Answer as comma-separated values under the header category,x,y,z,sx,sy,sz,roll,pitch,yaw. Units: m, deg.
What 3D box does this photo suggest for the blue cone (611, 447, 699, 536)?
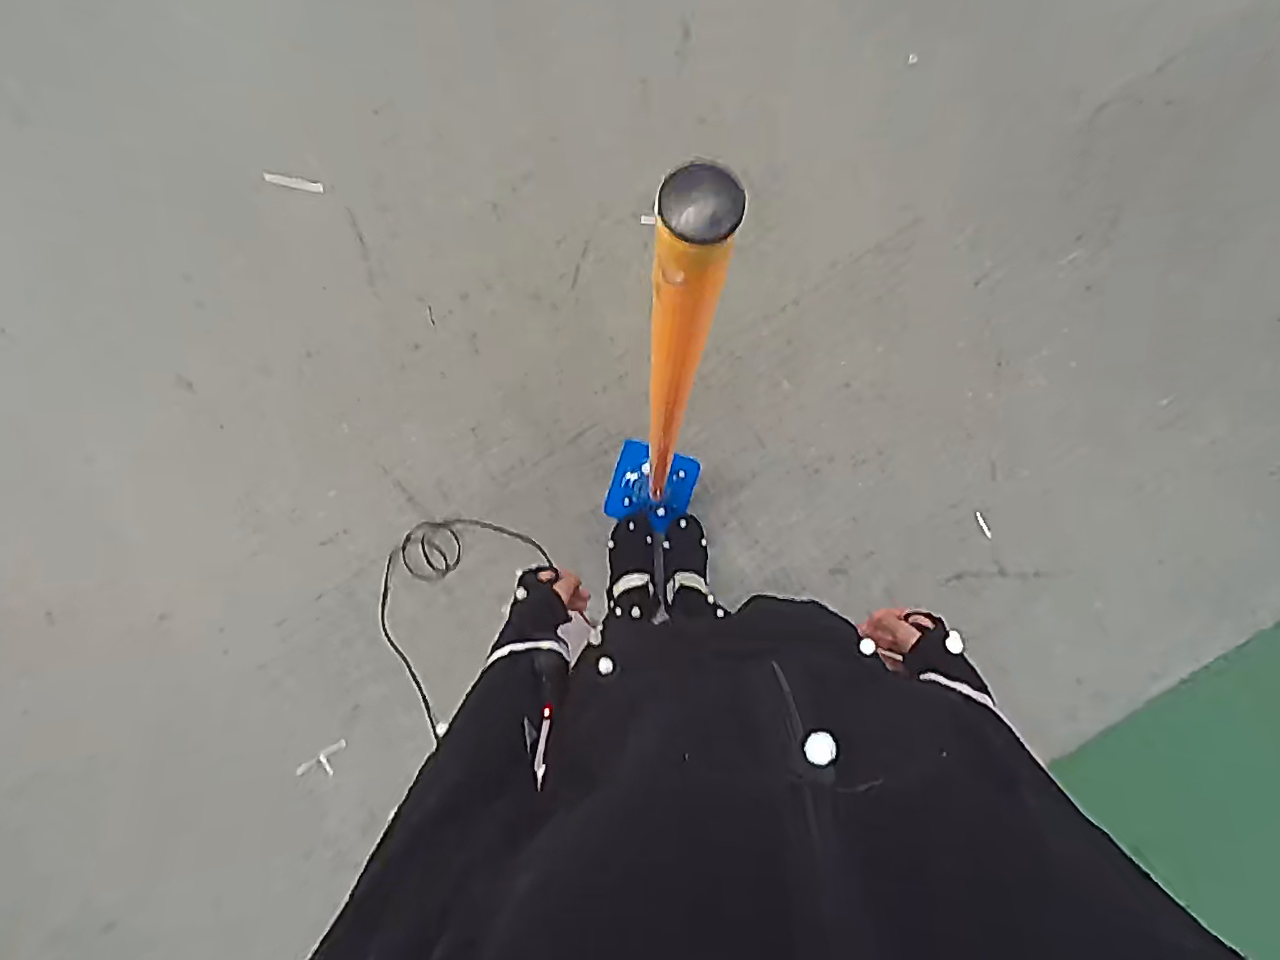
category,x,y,z,sx,sy,sz,roll,pitch,yaw
blue cone,0.037,0.029,1.137,0.192,0.380,0.193,17,90,-1
